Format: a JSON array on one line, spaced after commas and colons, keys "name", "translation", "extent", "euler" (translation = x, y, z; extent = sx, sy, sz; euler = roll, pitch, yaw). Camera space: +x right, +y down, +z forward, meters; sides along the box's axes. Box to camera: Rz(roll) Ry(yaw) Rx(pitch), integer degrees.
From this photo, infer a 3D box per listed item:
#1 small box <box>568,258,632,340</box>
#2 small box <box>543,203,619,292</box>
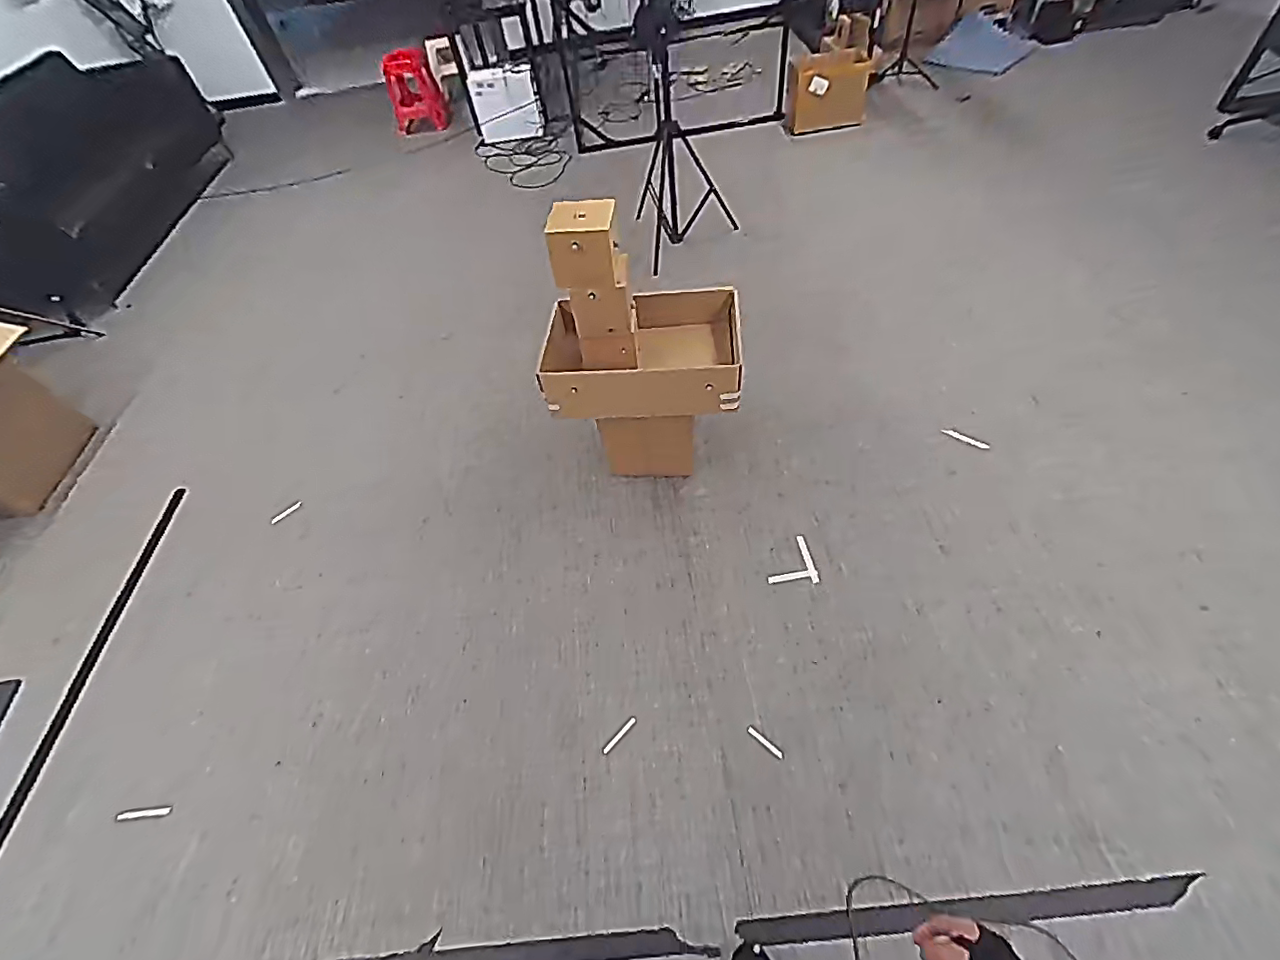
[{"name": "small box", "translation": [-0.116, -0.545, 1.632], "extent": [0.168, 0.176, 0.179], "euler": [-3, 51, 5]}, {"name": "small box", "translation": [-0.156, -0.644, 1.507], "extent": [0.179, 0.176, 0.168], "euler": [-1, 52, 7]}]
